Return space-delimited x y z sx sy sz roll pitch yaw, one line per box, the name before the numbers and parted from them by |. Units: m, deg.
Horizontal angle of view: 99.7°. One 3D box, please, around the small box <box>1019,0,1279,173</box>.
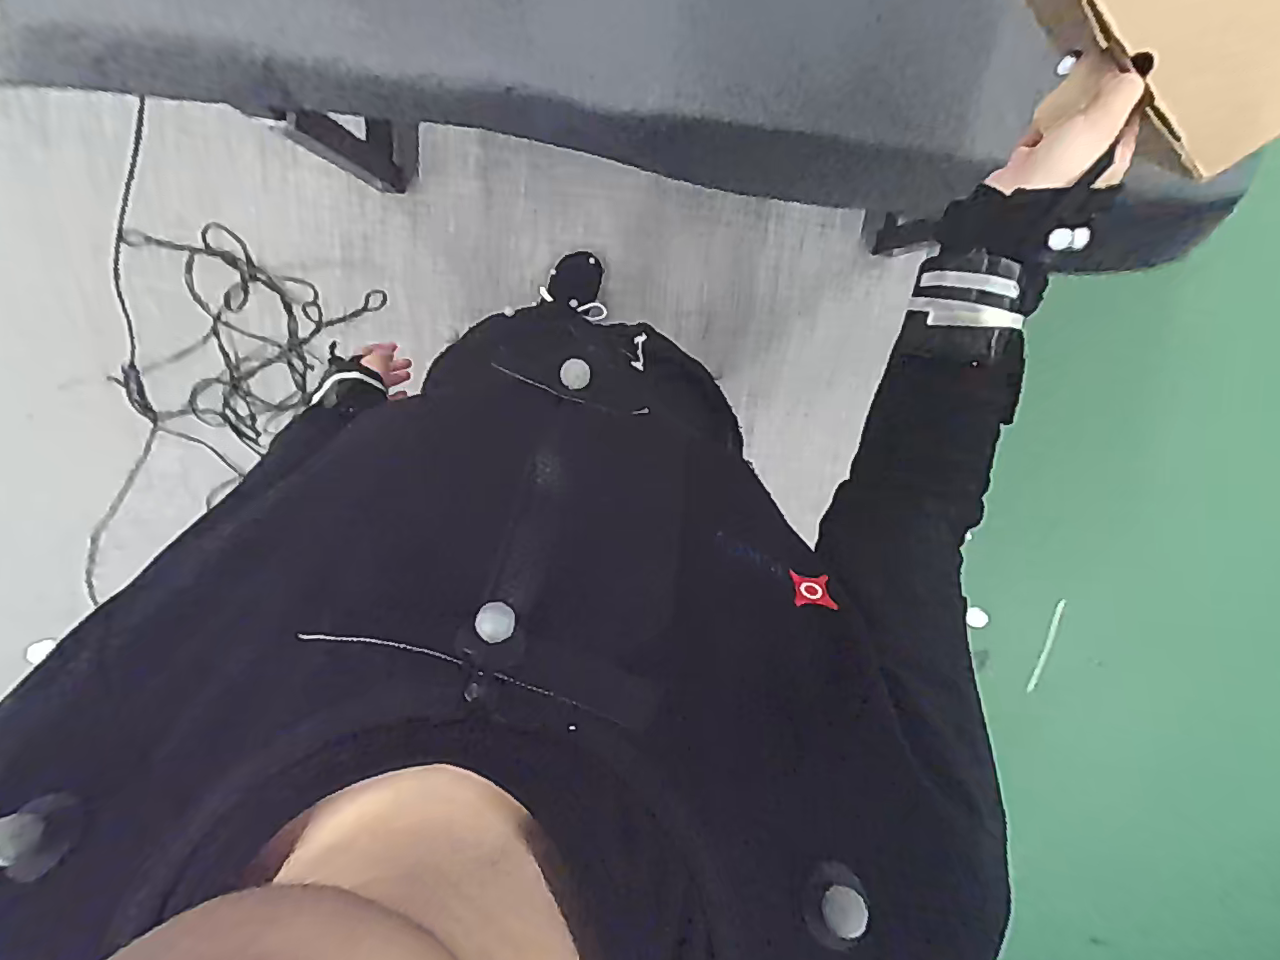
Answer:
small box | 0.368 -0.329 0.322 0.168 0.176 0.179 44 132 -11
